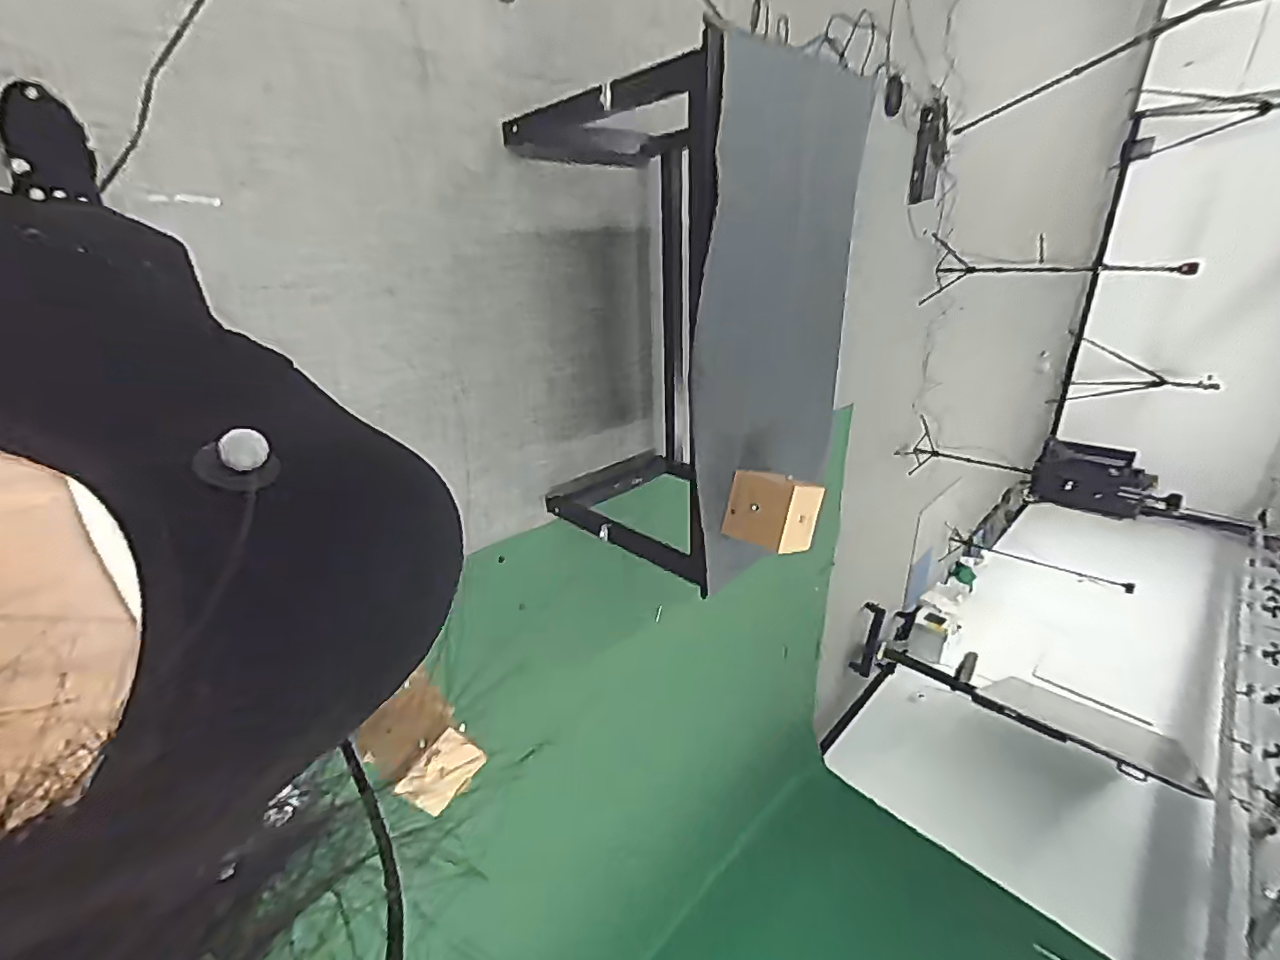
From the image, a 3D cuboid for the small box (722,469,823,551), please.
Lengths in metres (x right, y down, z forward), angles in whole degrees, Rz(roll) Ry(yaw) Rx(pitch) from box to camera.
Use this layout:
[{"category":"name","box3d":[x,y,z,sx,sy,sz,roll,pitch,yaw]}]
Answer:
[{"category":"small box","box3d":[0.331,0.072,1.366,0.179,0.176,0.168,3,103,-49]}]

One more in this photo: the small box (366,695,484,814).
[{"category":"small box","box3d":[-0.521,0.659,1.312,0.168,0.176,0.179,-46,133,-25]}]
